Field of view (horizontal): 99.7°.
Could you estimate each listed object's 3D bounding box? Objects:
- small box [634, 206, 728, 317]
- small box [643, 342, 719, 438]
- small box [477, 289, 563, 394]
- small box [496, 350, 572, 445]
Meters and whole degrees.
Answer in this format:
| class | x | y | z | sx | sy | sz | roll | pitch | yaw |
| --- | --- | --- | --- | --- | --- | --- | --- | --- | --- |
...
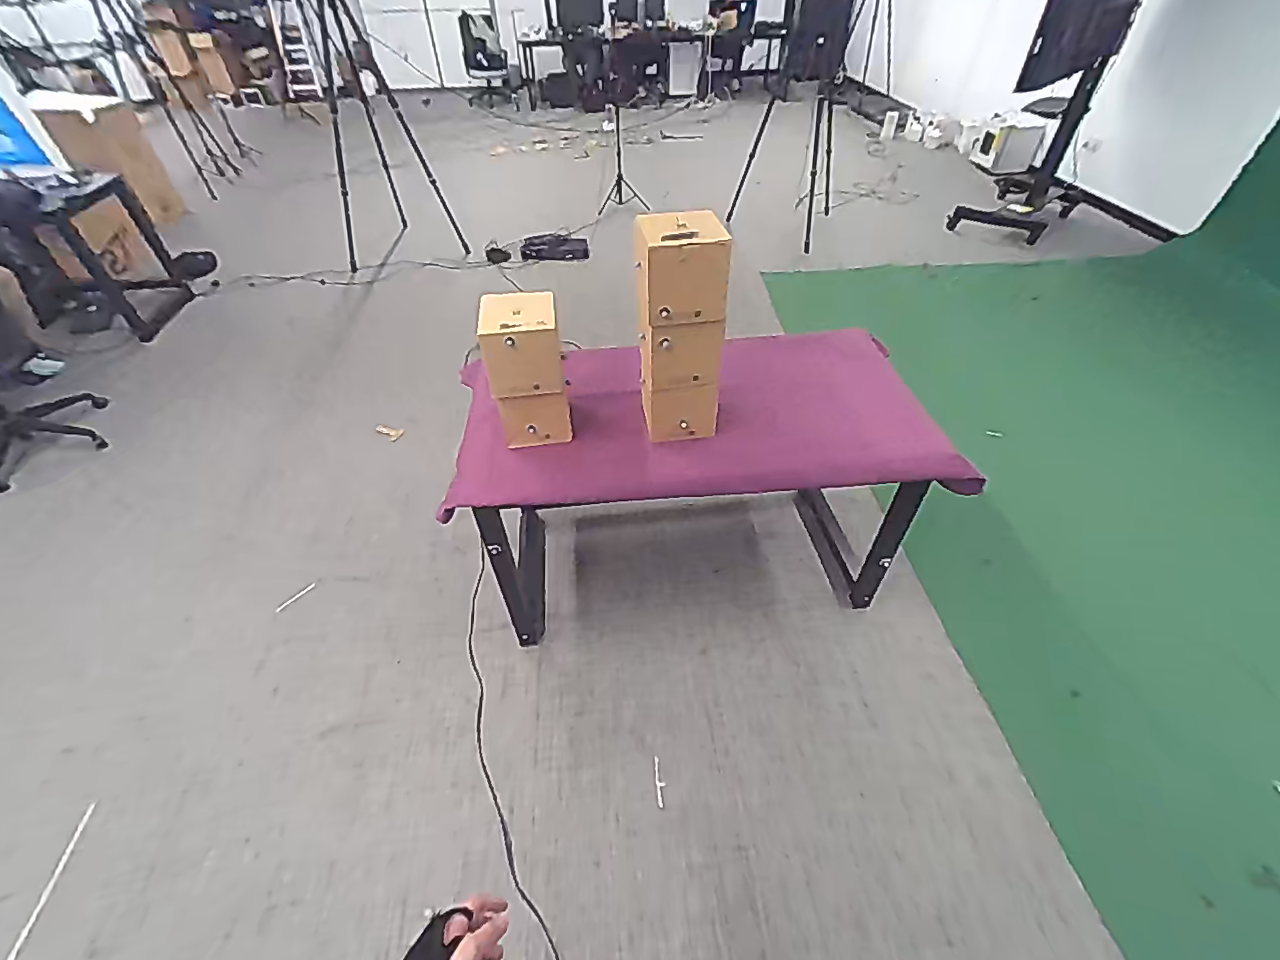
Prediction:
| class | x | y | z | sx | sy | sz | roll | pitch | yaw |
| --- | --- | --- | --- | --- | --- | --- | --- | --- | --- |
| small box | 0.082 | -0.454 | 1.135 | 0.168 | 0.176 | 0.179 | -7 | 44 | -5 |
| small box | 0.096 | -0.229 | 1.374 | 0.168 | 0.176 | 0.179 | -6 | 45 | -4 |
| small box | -0.270 | -0.319 | 1.247 | 0.168 | 0.176 | 0.179 | -7 | 45 | -5 |
| small box | -0.267 | -0.213 | 1.373 | 0.168 | 0.176 | 0.179 | -8 | 46 | -7 |
